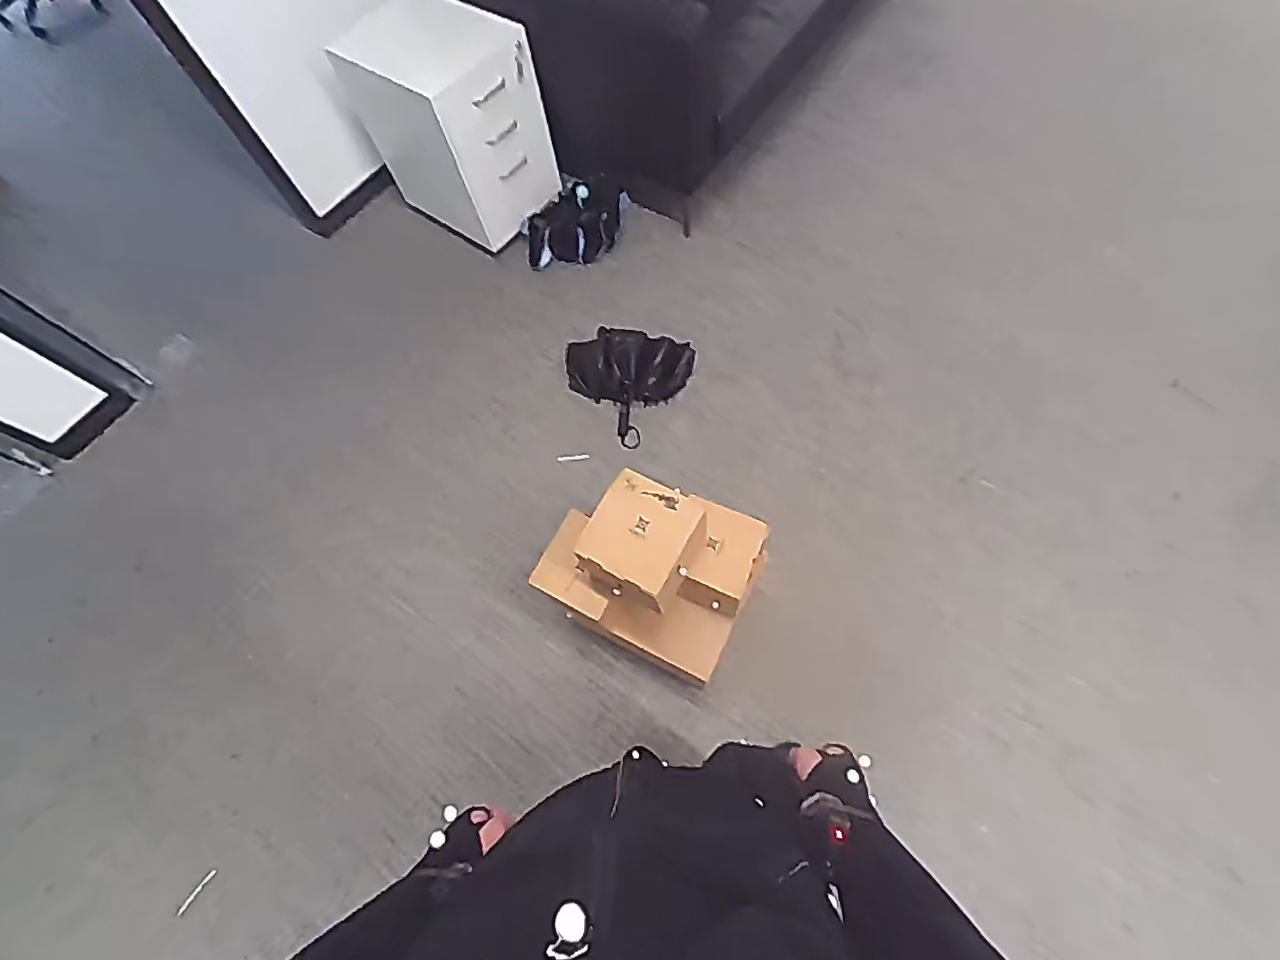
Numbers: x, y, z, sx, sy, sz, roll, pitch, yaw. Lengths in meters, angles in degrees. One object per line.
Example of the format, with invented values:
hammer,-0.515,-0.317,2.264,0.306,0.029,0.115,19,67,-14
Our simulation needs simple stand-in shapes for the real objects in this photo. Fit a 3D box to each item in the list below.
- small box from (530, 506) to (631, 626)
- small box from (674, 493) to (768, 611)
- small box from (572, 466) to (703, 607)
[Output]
small box,-0.100,0.185,1.138,0.168,0.176,0.179,26,74,16
small box,0.148,0.157,1.126,0.179,0.176,0.168,21,67,16
small box,0.006,0.109,0.979,0.168,0.176,0.179,27,73,17
